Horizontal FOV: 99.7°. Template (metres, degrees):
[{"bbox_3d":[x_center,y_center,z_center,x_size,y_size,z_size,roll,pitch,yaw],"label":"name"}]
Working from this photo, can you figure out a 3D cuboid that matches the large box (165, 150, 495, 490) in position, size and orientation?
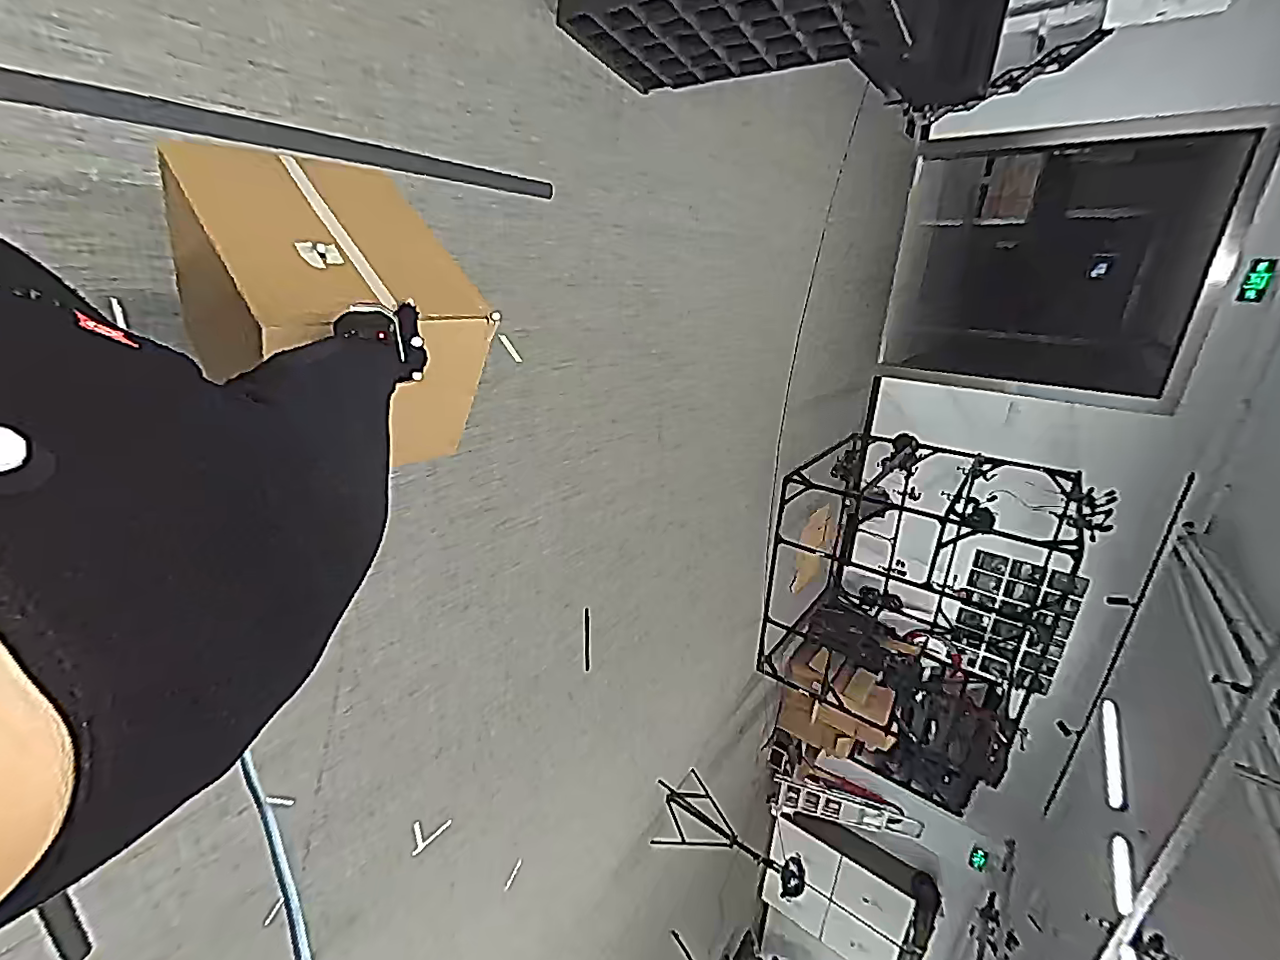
[{"bbox_3d":[-0.512,-0.255,0.893,0.320,0.408,0.320,-20,155,-44],"label":"large box"}]
